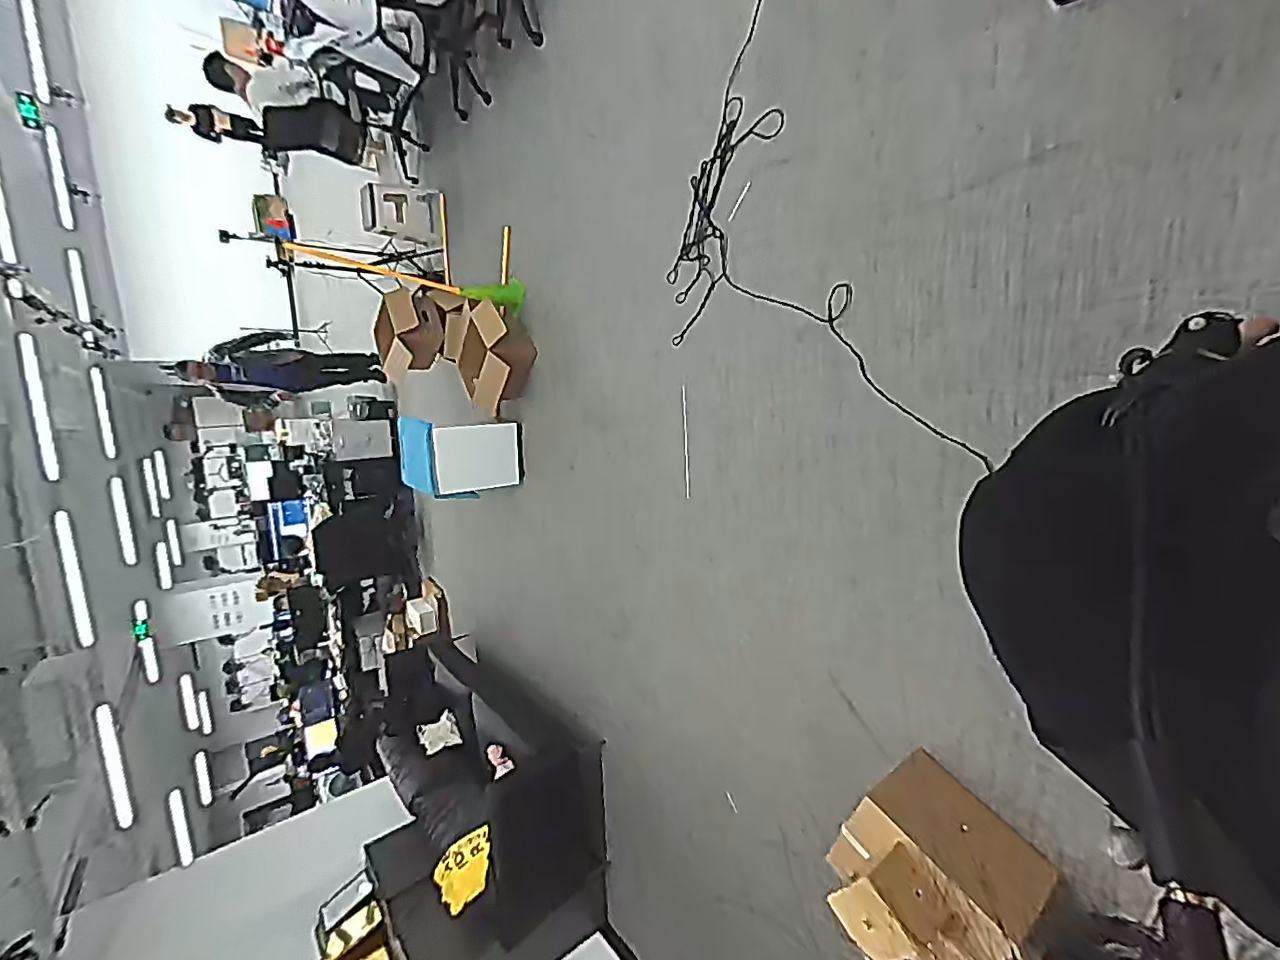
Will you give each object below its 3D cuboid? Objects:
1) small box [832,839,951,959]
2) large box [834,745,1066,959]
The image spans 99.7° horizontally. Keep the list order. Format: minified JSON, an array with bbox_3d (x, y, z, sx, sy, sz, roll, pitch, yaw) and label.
[{"bbox_3d":[0.623,1.037,1.338,0.168,0.176,0.179,52,133,33],"label":"small box"},{"bbox_3d":[0.827,1.035,1.478,0.408,0.320,0.320,38,127,41],"label":"large box"}]
